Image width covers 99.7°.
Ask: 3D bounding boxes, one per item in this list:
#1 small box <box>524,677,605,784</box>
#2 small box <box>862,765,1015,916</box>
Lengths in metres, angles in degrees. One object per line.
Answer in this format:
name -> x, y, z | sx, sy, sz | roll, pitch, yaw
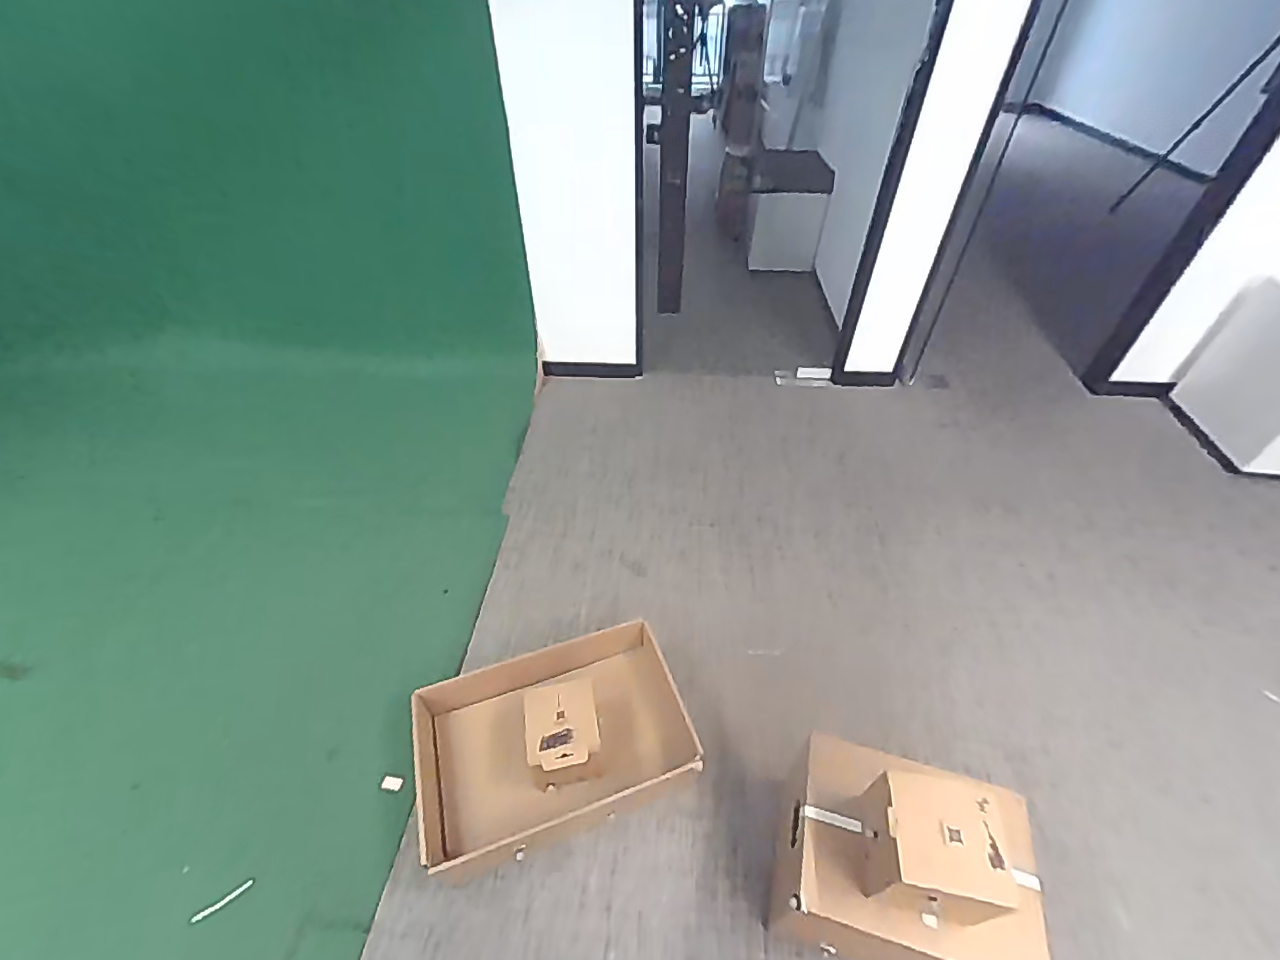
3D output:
small box -> -0.182, 0.612, 1.307 | 0.168, 0.176, 0.179 | -9, 43, -8
small box -> 0.489, 0.616, 0.922 | 0.179, 0.176, 0.168 | 7, 45, 8
